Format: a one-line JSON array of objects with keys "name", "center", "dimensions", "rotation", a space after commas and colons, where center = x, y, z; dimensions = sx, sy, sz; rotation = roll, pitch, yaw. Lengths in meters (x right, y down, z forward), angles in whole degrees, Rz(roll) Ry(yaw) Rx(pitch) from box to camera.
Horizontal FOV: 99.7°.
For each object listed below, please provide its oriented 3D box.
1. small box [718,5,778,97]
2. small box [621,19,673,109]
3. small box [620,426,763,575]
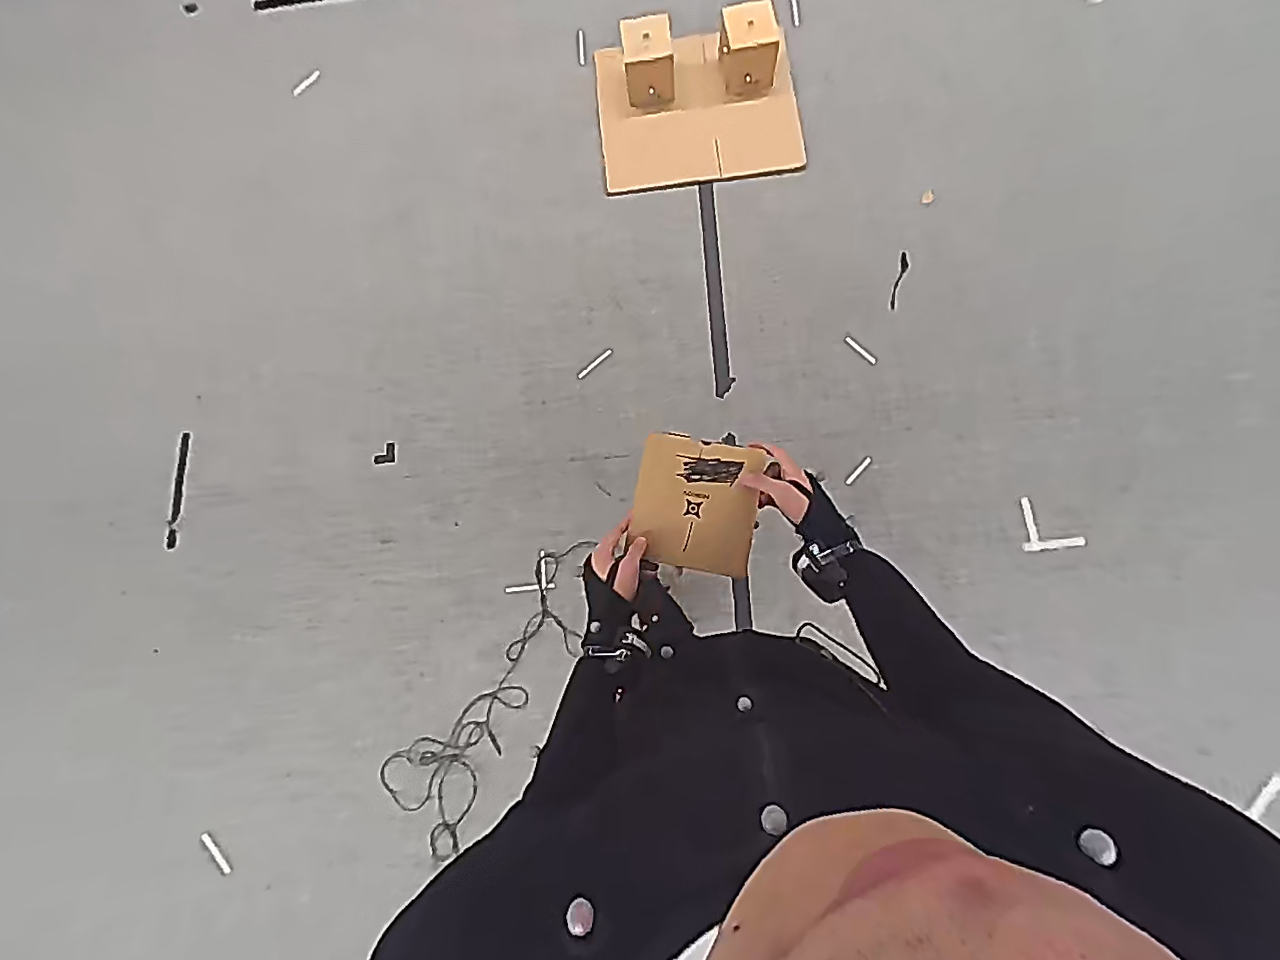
[{"name": "small box", "center": [0.369, -1.480, 1.874], "dimensions": [0.168, 0.176, 0.179], "rotation": [-10, 78, 3]}, {"name": "small box", "center": [0.027, -1.449, 1.888], "dimensions": [0.168, 0.176, 0.179], "rotation": [-6, 79, 4]}, {"name": "small box", "center": [0.074, 0.036, 0.794], "dimensions": [0.168, 0.176, 0.179], "rotation": [10, 83, 6]}]
